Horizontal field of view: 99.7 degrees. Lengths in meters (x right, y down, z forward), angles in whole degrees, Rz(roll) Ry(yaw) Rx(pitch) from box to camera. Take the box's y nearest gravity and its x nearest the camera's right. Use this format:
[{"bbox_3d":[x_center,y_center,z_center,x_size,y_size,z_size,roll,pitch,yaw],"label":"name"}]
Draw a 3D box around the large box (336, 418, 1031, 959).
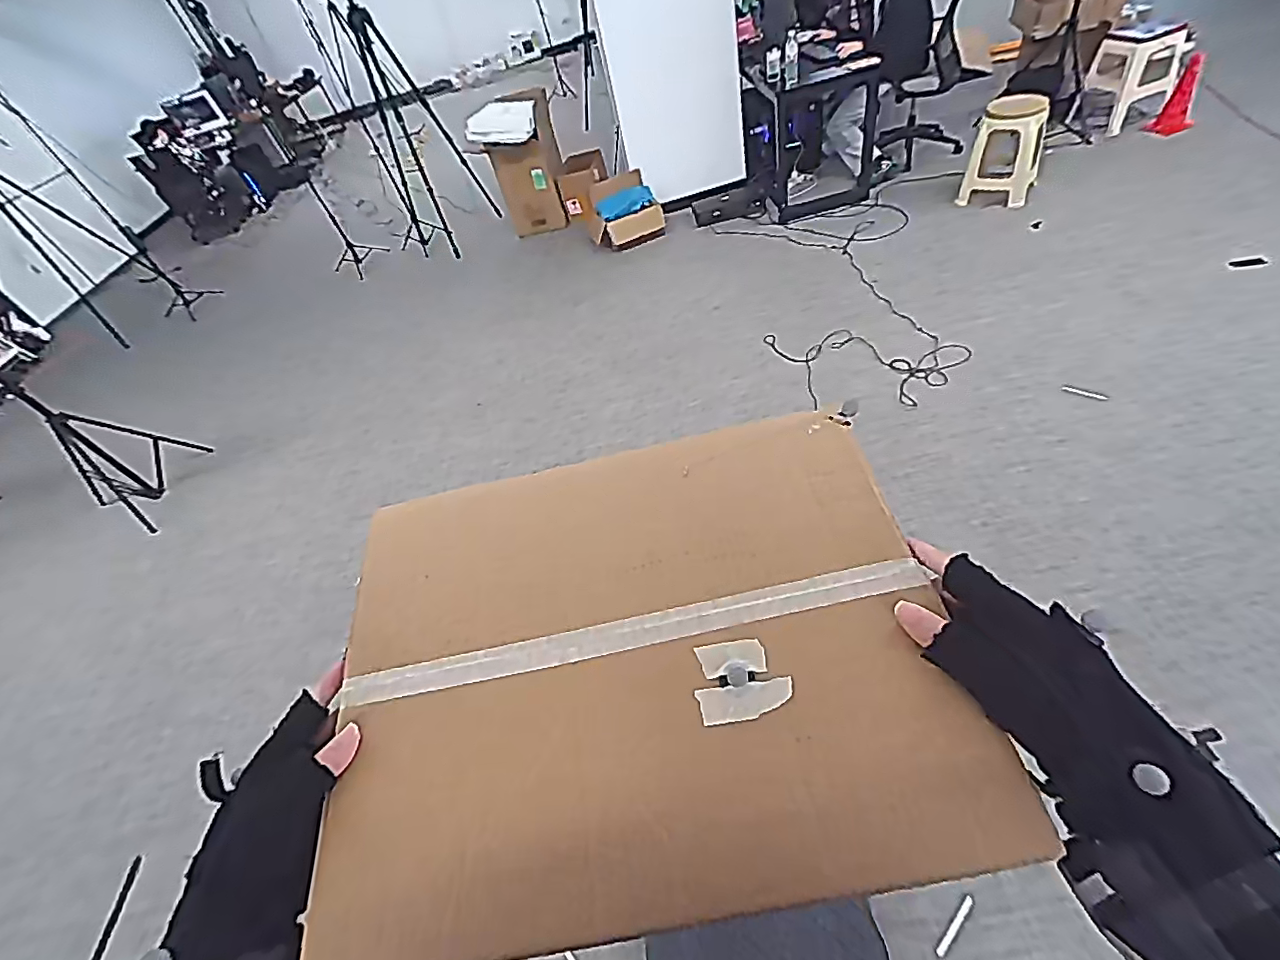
[{"bbox_3d":[0.019,0.195,0.503,0.408,0.320,0.320,-12,54,2],"label":"large box"}]
